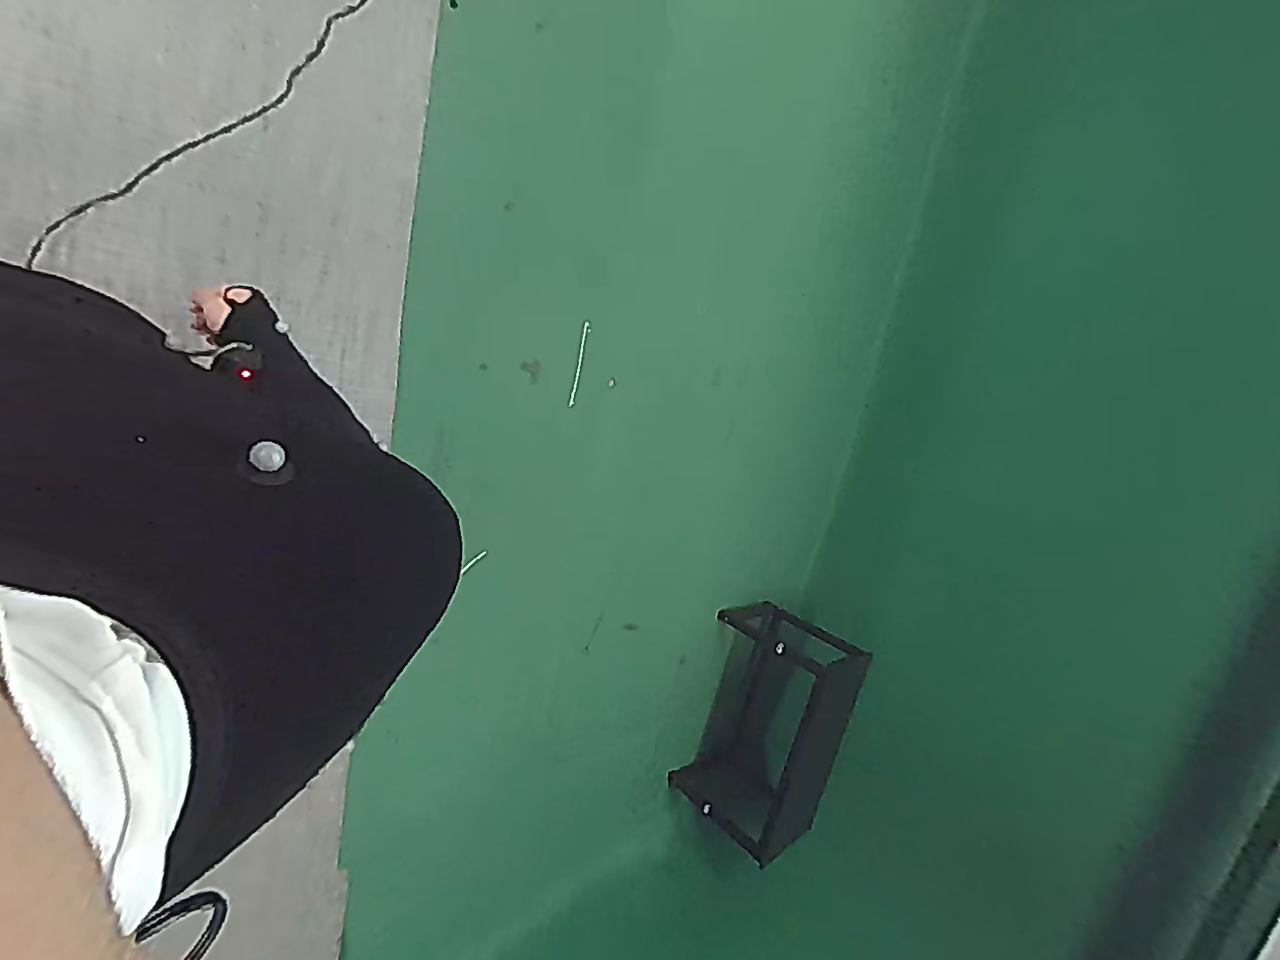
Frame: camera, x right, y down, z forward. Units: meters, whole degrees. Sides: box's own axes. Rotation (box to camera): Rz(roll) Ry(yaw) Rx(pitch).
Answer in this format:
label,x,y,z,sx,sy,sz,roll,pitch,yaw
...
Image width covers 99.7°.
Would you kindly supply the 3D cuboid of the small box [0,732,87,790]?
label,x,y,z,sx,sy,sz,roll,pitch,yaw
small box,-1.382,0.701,1.213,0.179,0.176,0.168,12,99,-48
